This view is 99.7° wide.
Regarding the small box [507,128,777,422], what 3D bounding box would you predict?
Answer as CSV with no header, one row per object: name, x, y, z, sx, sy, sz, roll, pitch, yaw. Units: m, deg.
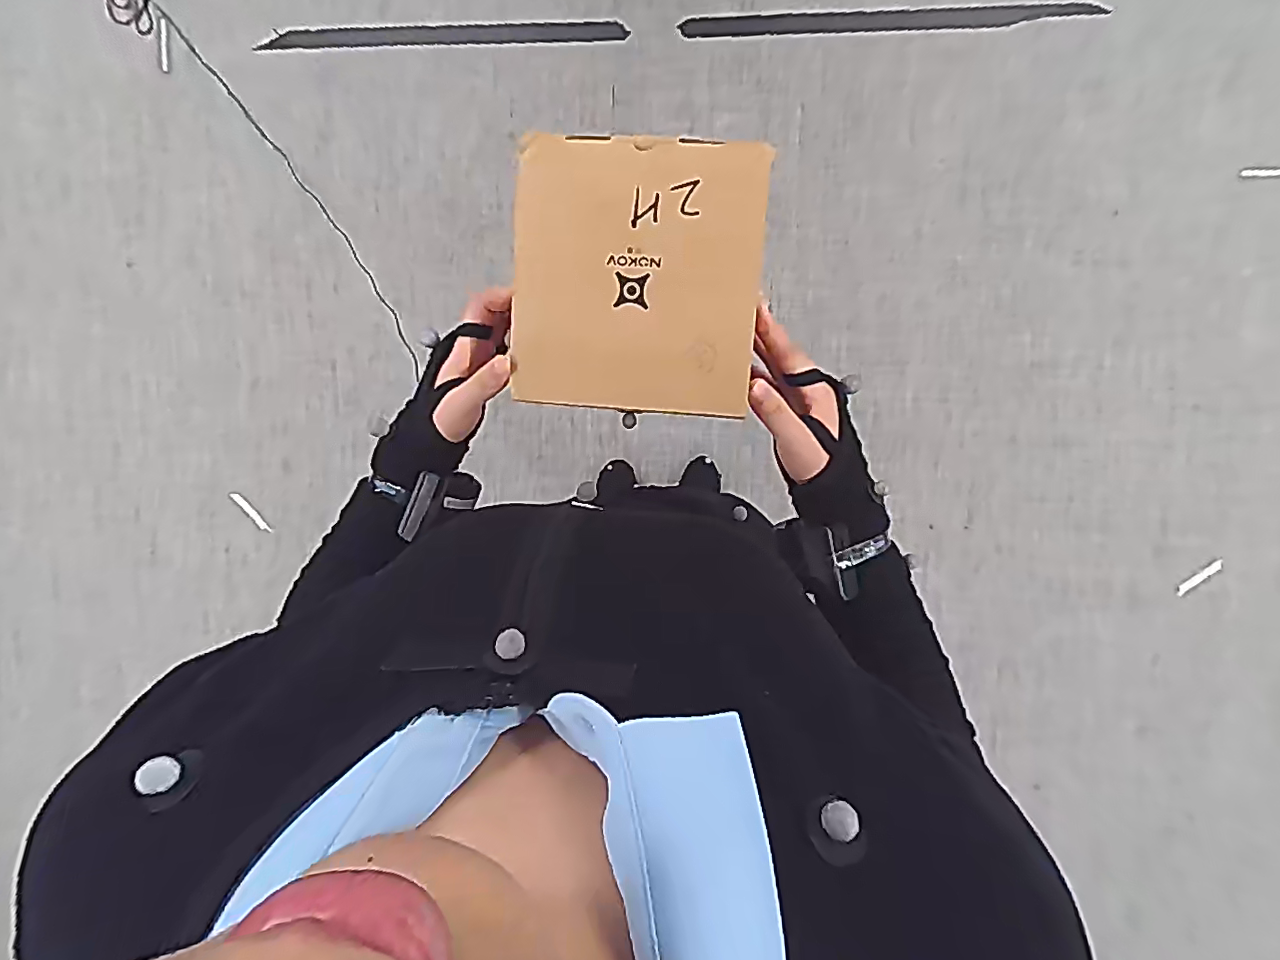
small box,0.004,-0.141,0.429,0.168,0.176,0.179,5,97,4
